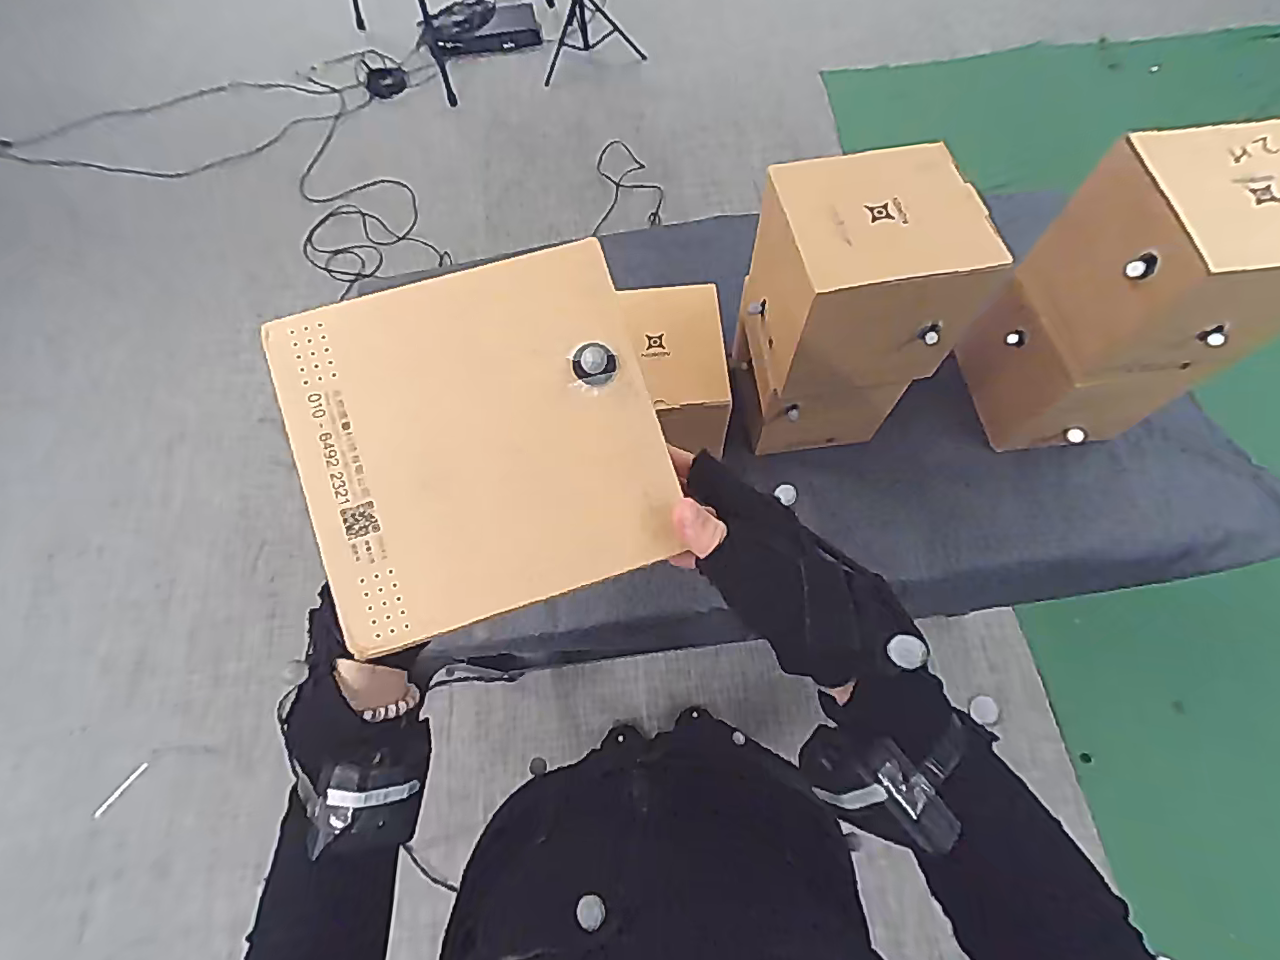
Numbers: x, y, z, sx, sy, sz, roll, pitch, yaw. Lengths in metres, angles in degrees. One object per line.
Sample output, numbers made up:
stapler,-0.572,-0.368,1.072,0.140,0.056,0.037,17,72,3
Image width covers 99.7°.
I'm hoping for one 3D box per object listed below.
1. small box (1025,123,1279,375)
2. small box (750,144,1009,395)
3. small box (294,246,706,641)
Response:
small box,0.548,-0.222,0.555,0.168,0.176,0.179,-4,66,1
small box,0.227,-0.210,0.568,0.179,0.176,0.168,-9,65,0
small box,-0.078,-0.013,0.344,0.176,0.179,0.168,-18,85,-8
